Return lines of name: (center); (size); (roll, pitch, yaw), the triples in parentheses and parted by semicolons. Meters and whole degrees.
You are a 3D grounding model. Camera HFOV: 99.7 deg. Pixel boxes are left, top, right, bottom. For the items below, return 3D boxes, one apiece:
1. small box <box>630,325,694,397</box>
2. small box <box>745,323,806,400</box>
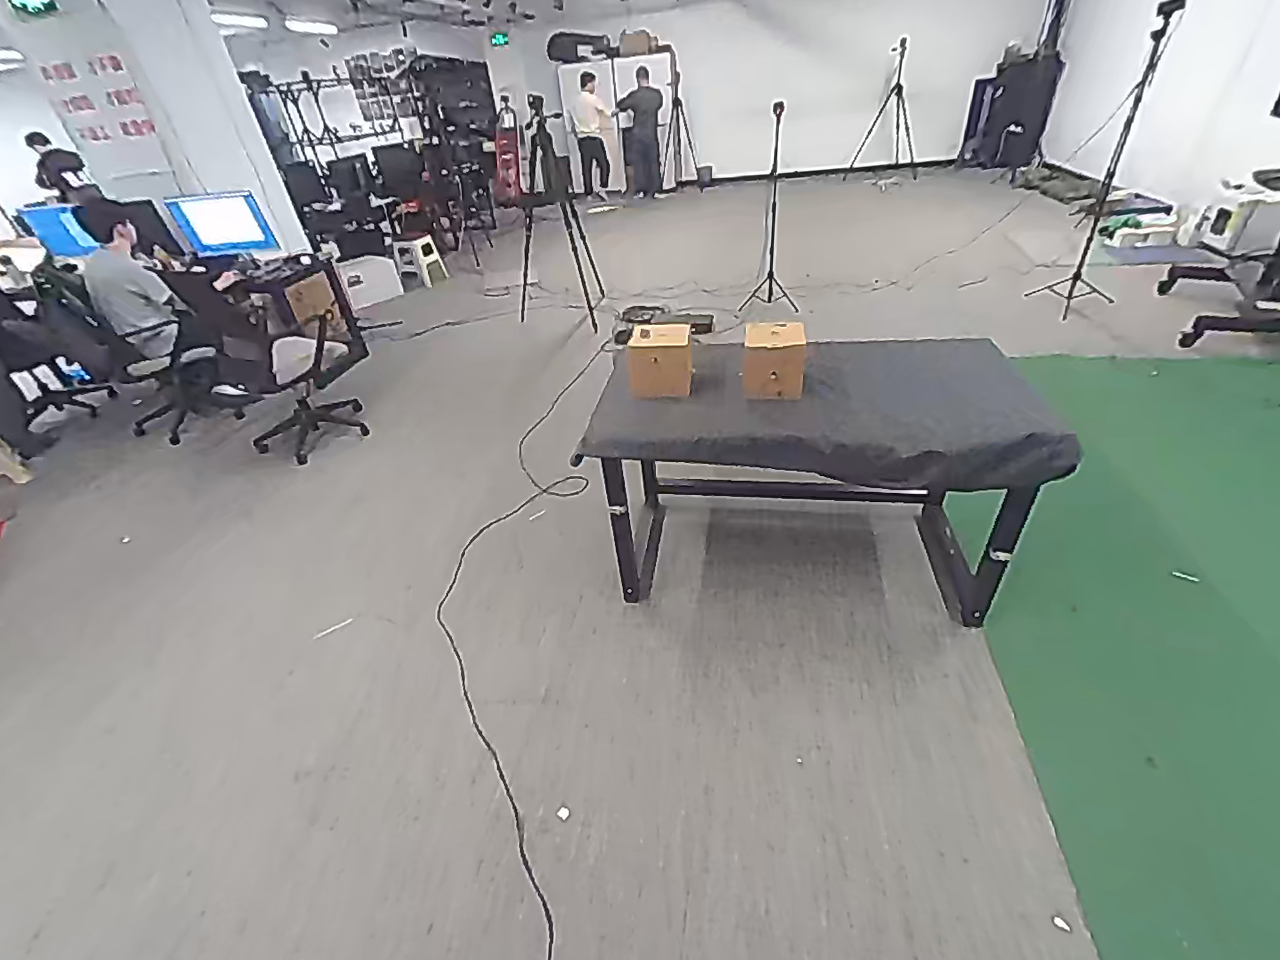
small box: (0.073, -0.363, 1.658); (0.179, 0.176, 0.168); (2, 37, 9)
small box: (0.396, -0.346, 1.588); (0.168, 0.176, 0.179); (2, 37, 12)
